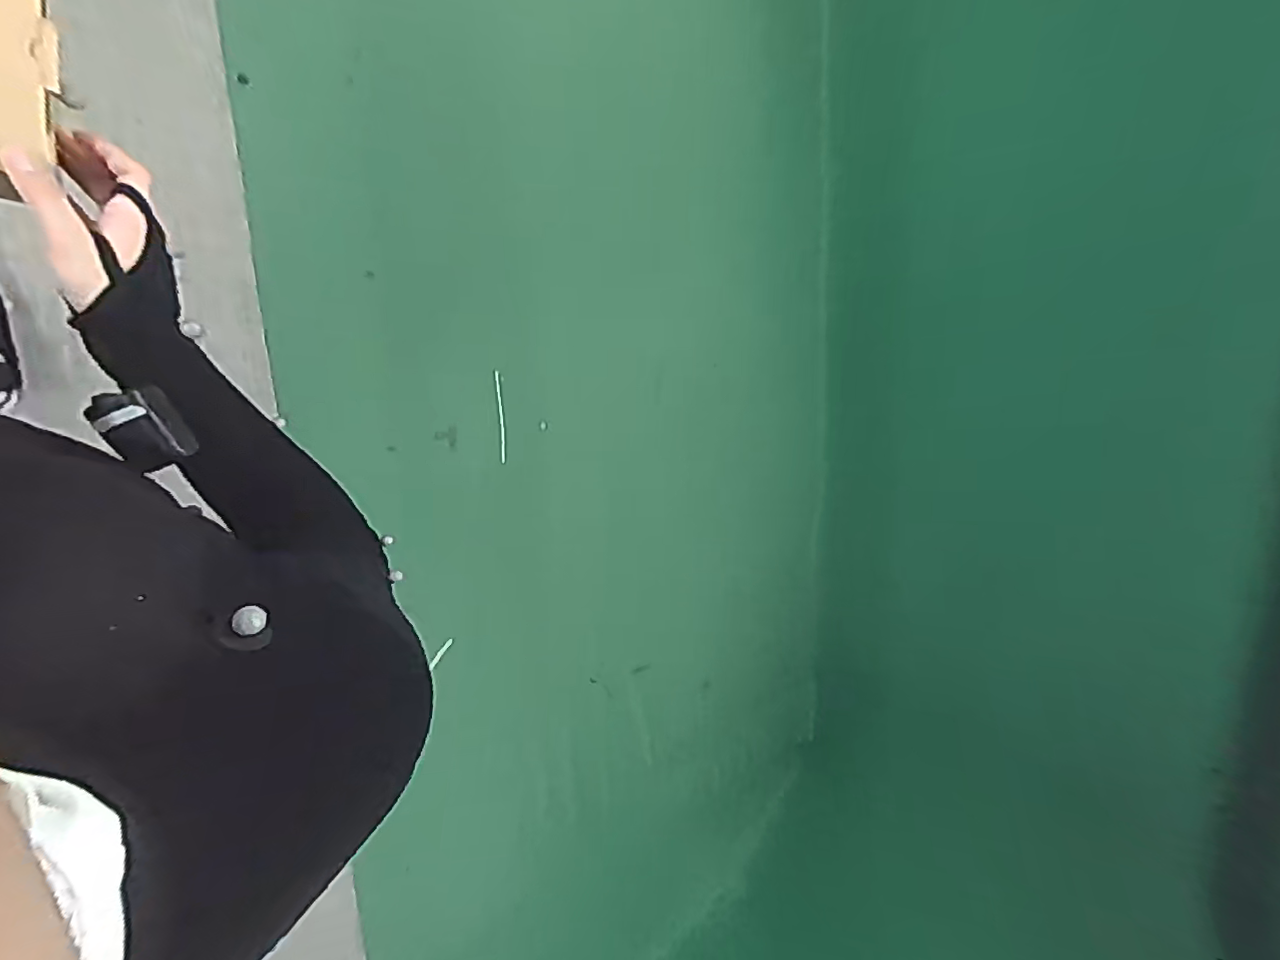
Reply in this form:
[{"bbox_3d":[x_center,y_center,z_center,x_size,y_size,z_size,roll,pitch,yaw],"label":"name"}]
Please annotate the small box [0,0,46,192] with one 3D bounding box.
[{"bbox_3d":[-0.521,-0.309,0.355,0.179,0.176,0.168,-2,102,-46],"label":"small box"}]
